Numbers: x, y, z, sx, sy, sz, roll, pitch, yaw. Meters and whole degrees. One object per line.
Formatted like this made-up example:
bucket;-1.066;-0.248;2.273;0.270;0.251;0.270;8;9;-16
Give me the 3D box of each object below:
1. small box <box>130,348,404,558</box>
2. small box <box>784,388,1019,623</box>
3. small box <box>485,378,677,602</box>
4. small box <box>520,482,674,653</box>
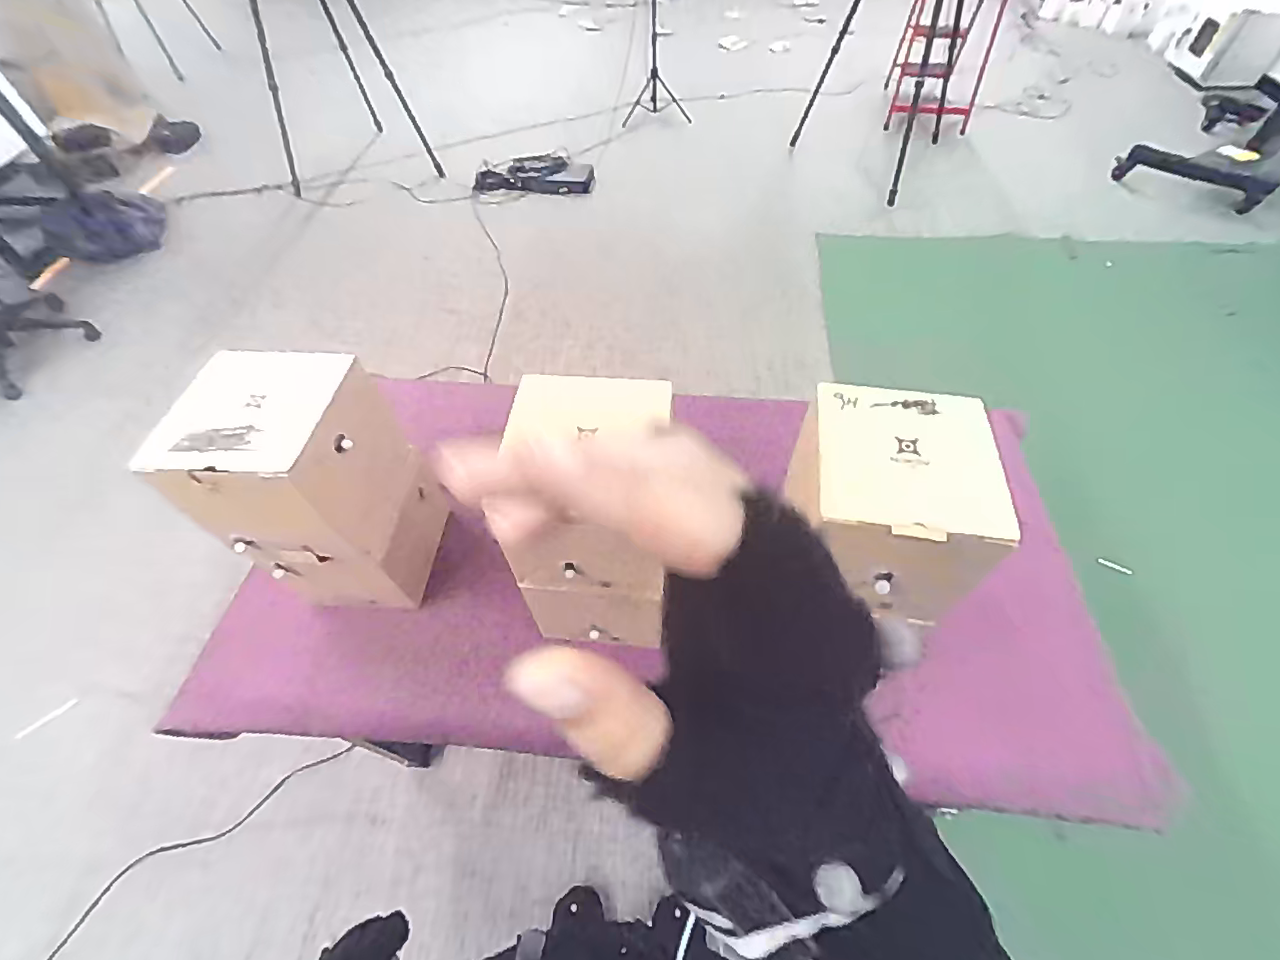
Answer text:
small box;-0.401;-0.026;0.626;0.168;0.176;0.179;6;54;3
small box;0.252;0.031;0.568;0.168;0.176;0.179;8;54;7
small box;-0.050;0.013;0.592;0.168;0.176;0.179;4;54;4
small box;-0.046;0.110;0.723;0.168;0.176;0.179;4;54;6
